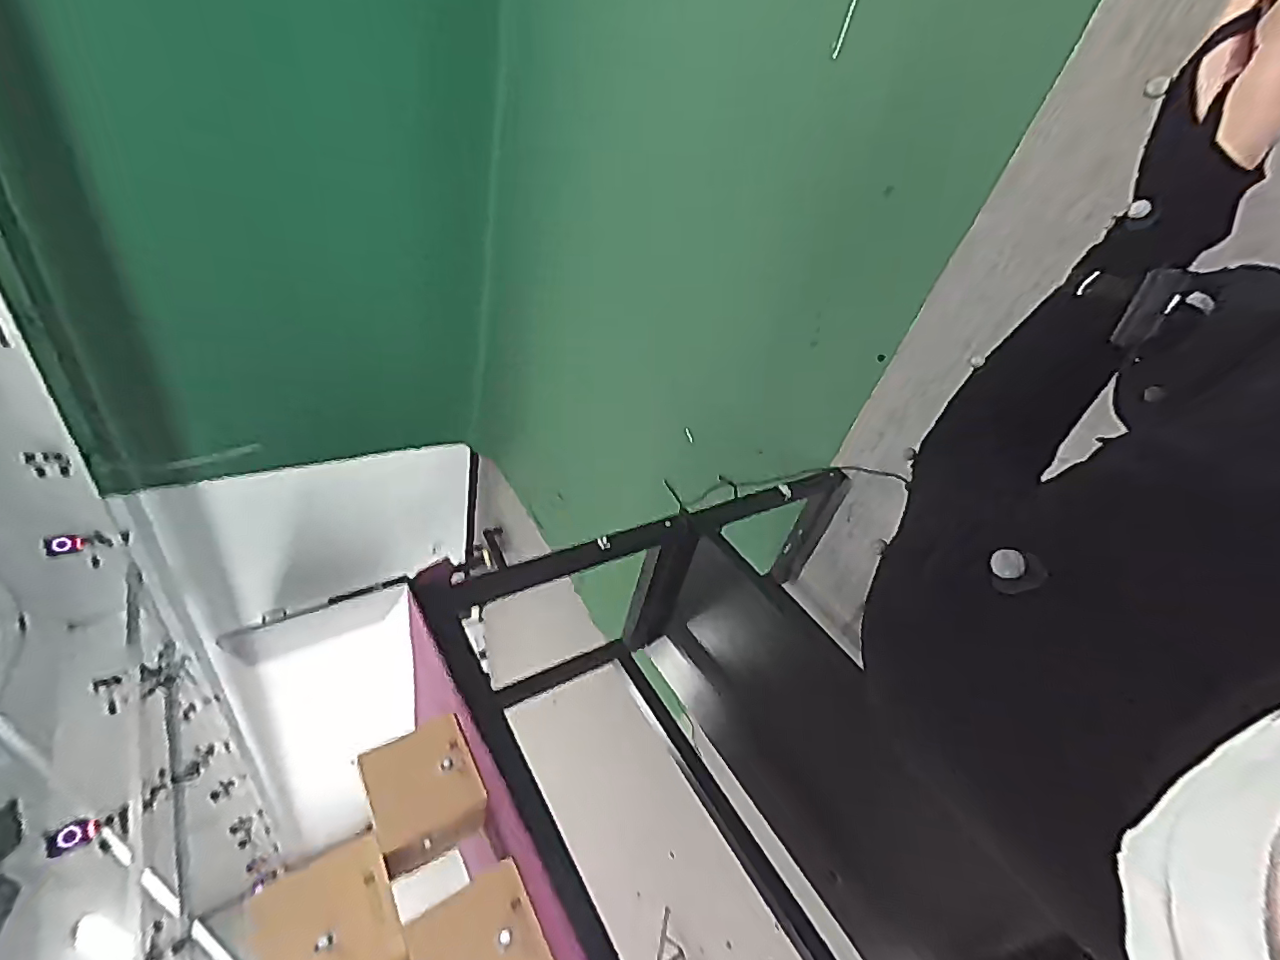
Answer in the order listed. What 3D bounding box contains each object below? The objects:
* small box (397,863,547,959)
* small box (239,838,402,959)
[{"bbox_3d":[-0.245,0.717,0.797,0.168,0.176,0.179,48,136,35],"label":"small box"},{"bbox_3d":[-0.450,0.665,0.783,0.168,0.176,0.179,48,138,34],"label":"small box"}]
